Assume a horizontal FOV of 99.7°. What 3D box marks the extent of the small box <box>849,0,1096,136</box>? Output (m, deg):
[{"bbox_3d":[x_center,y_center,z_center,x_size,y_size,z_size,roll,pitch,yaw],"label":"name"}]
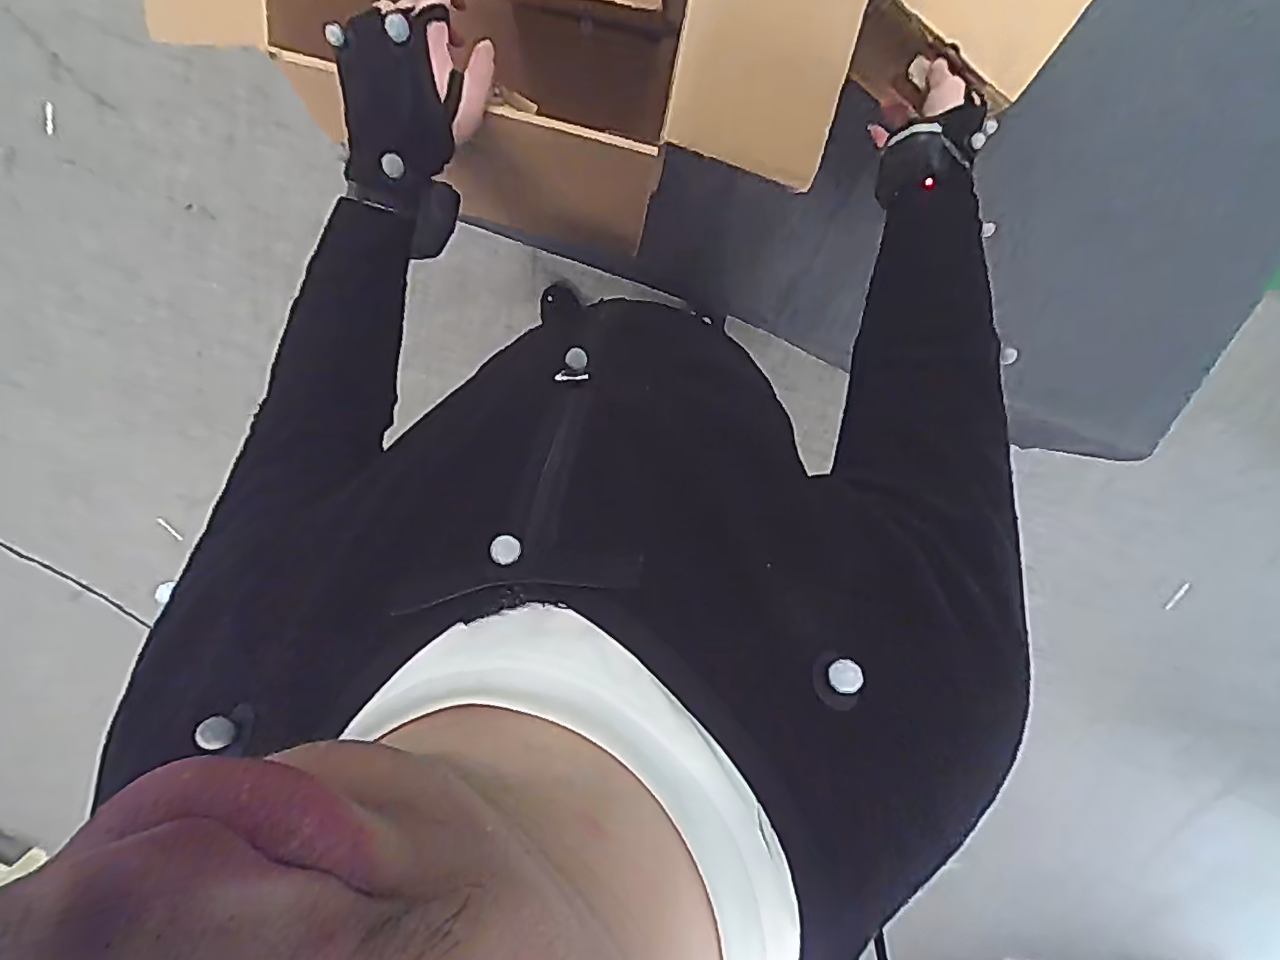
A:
[{"bbox_3d":[0.351,-0.509,0.576,0.168,0.176,0.179,31,107,-13],"label":"small box"}]
